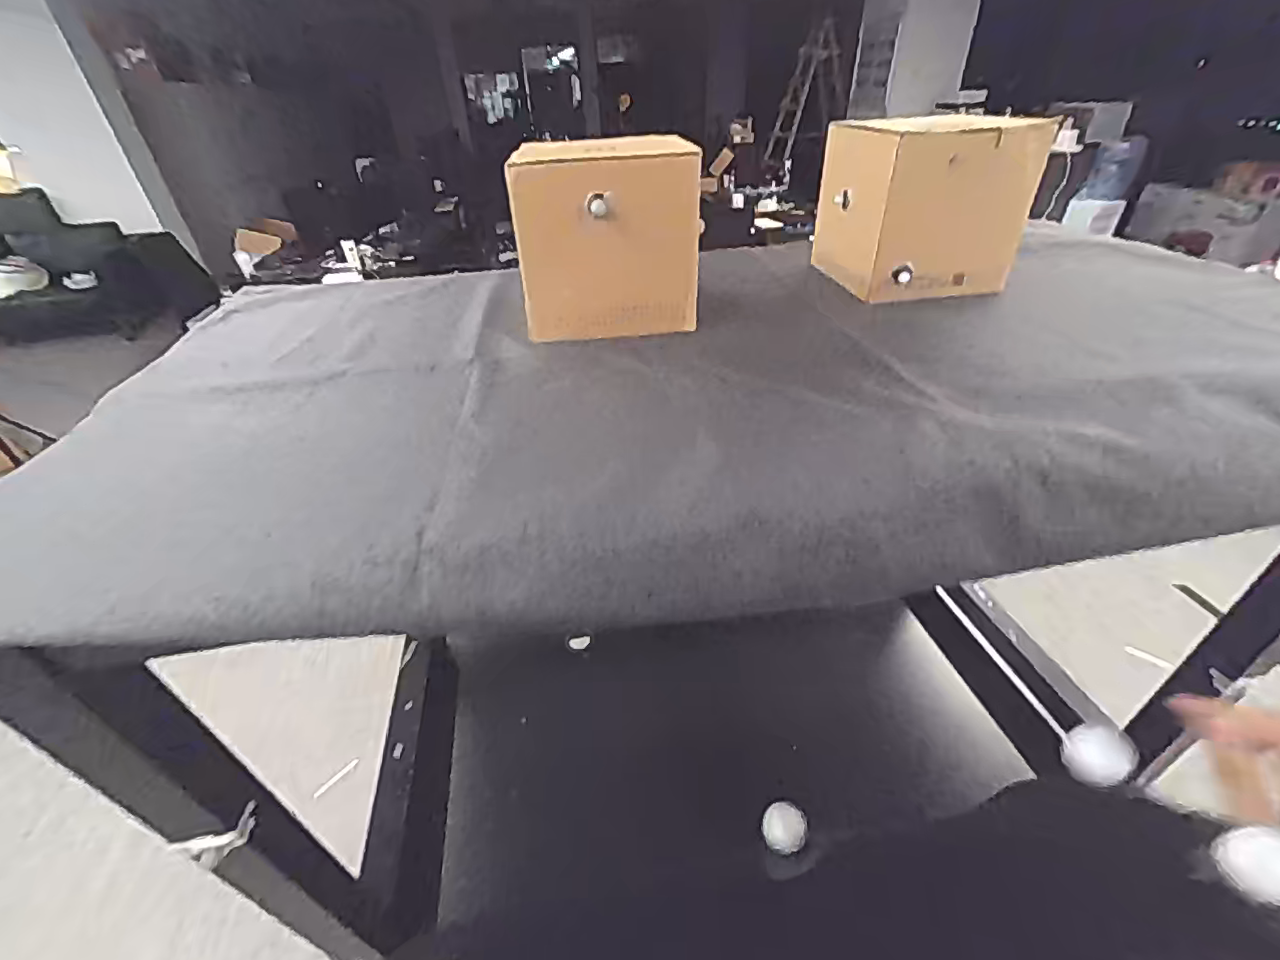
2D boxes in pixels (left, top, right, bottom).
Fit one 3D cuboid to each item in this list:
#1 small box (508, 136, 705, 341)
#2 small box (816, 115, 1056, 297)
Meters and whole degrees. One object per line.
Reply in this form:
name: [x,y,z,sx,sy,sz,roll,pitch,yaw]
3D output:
small box: [-0.032,-0.262,0.583,0.179,0.176,0.168,-5,36,-2]
small box: [0.326,-0.322,0.640,0.168,0.176,0.179,-6,36,-4]
